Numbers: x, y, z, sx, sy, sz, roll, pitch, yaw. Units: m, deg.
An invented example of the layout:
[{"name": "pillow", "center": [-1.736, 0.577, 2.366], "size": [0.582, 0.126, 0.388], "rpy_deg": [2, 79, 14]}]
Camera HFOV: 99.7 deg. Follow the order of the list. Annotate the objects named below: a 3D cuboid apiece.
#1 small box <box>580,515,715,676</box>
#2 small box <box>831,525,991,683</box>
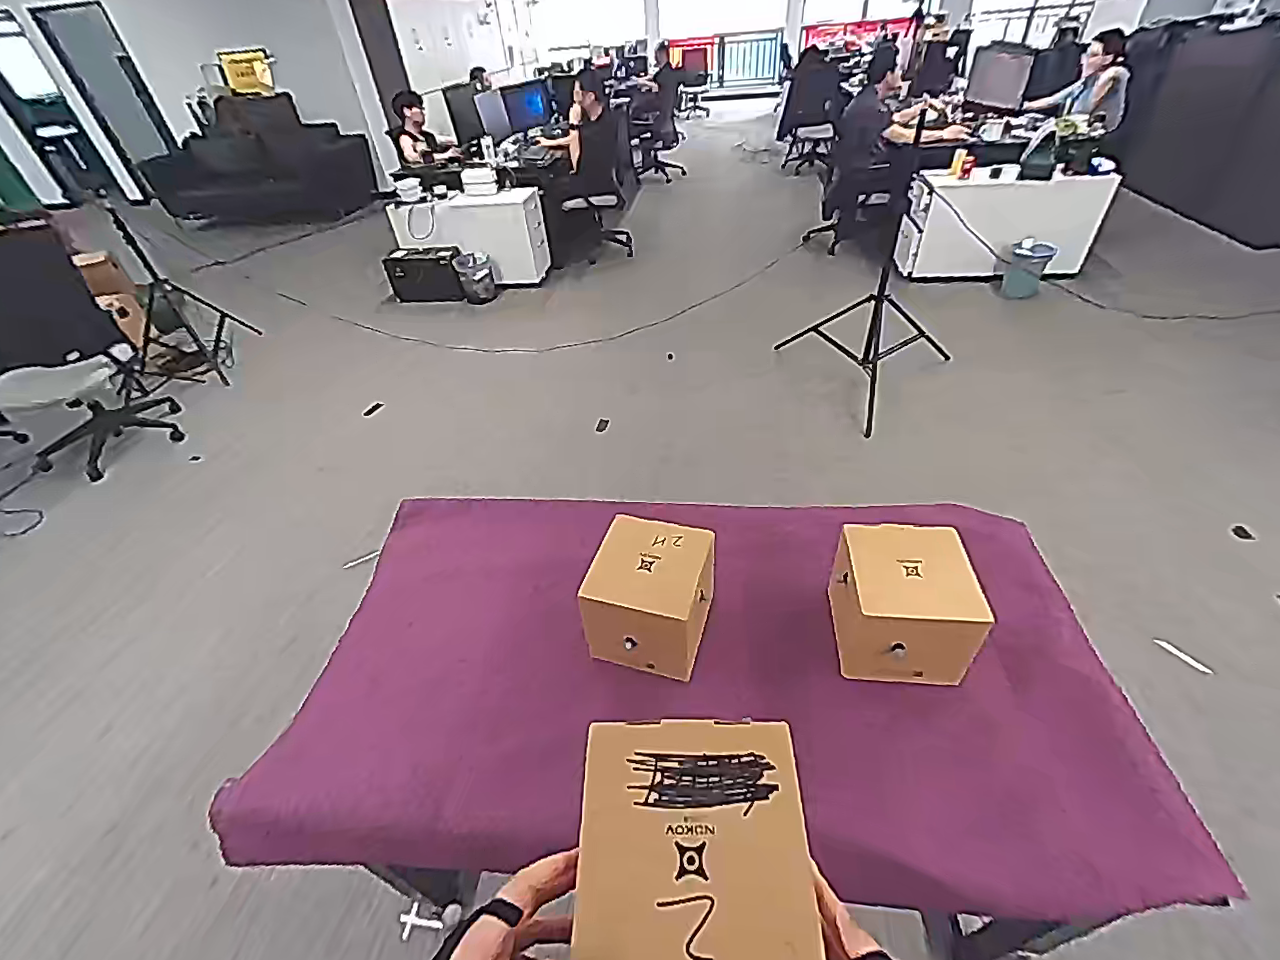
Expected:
[{"name": "small box", "center": [0.022, 0.186, 0.872], "size": [0.168, 0.176, 0.179], "rpy_deg": [10, 43, 16]}, {"name": "small box", "center": [0.397, 0.189, 0.829], "size": [0.168, 0.176, 0.179], "rpy_deg": [1, 40, 9]}]
